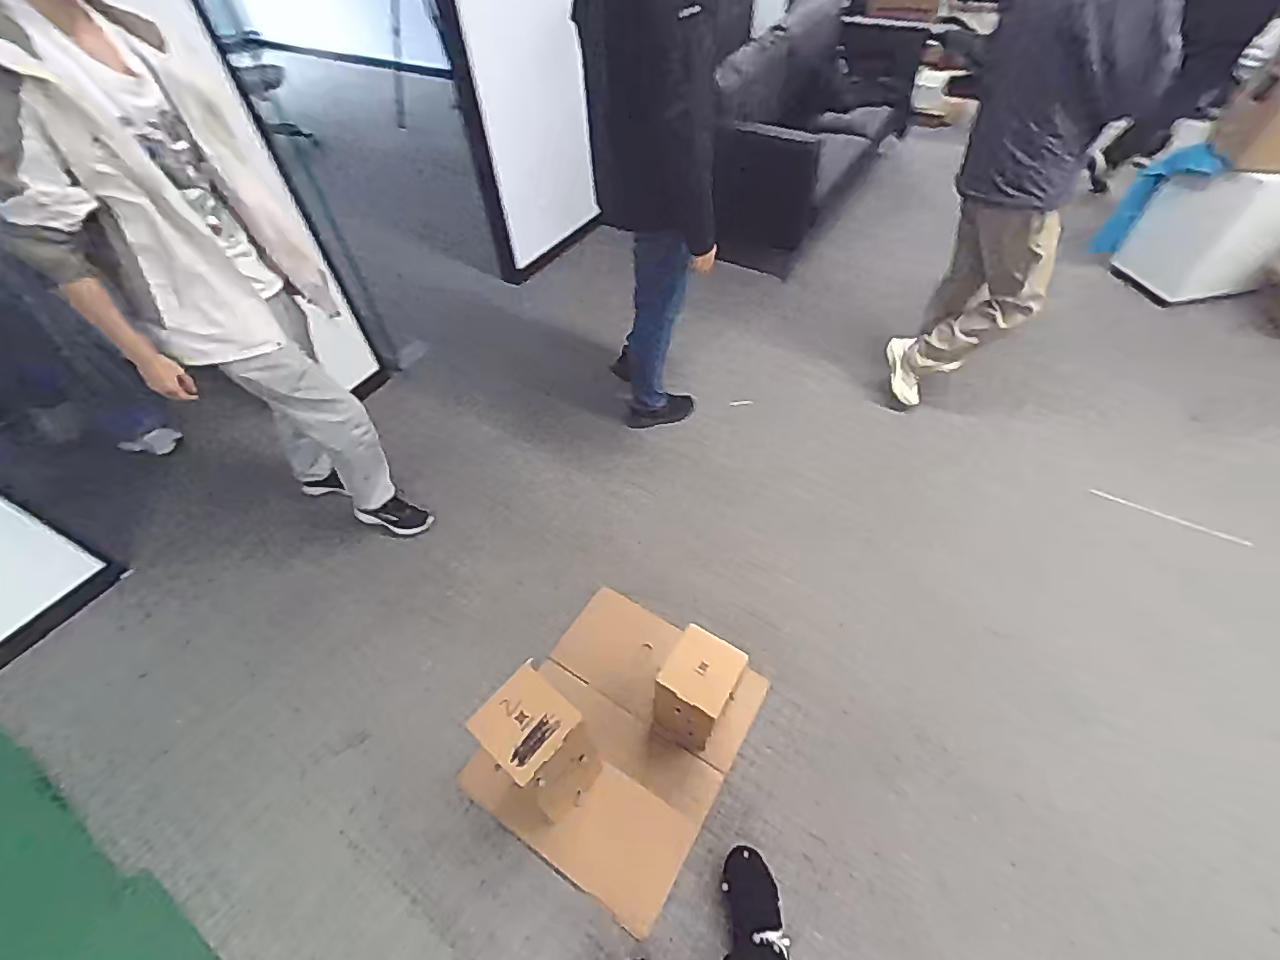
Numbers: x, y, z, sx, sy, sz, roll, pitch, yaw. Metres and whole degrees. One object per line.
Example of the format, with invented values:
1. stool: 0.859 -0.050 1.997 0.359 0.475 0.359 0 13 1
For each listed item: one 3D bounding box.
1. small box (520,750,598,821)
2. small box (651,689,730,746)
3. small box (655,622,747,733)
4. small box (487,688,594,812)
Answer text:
1. small box: -0.222 0.731 1.382 0.168 0.176 0.179 33 59 26
2. small box: 0.147 0.594 1.480 0.168 0.176 0.179 26 57 22
3. small box: 0.148 0.496 1.352 0.168 0.176 0.179 26 58 20
4. small box: -0.220 0.627 1.253 0.168 0.176 0.179 32 59 26
